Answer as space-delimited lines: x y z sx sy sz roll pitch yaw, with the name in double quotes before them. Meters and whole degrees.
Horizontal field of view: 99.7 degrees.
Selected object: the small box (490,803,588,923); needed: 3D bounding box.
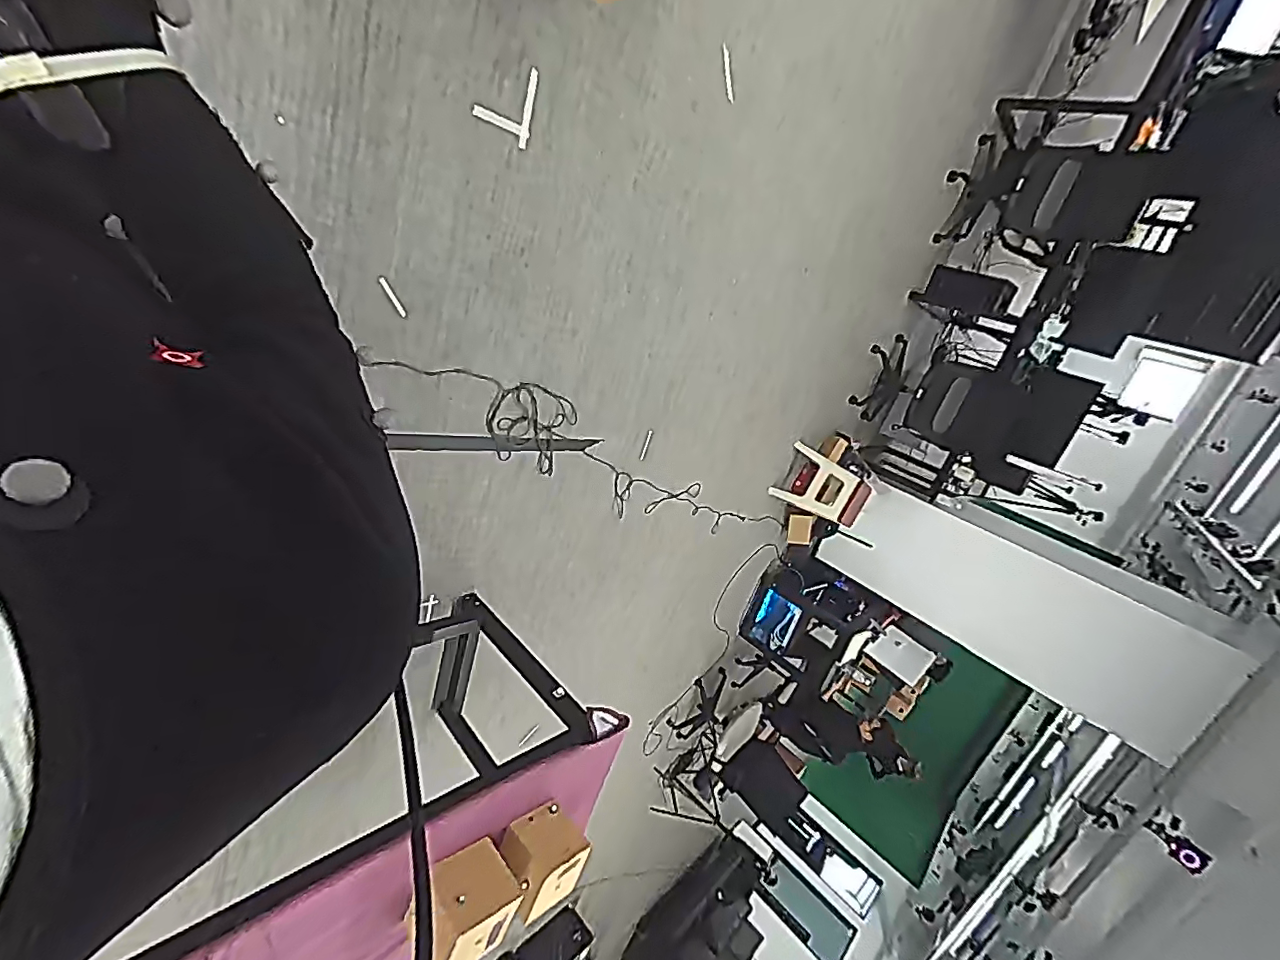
"small box" -0.275 1.006 1.445 0.168 0.176 0.179 4 113 -51
